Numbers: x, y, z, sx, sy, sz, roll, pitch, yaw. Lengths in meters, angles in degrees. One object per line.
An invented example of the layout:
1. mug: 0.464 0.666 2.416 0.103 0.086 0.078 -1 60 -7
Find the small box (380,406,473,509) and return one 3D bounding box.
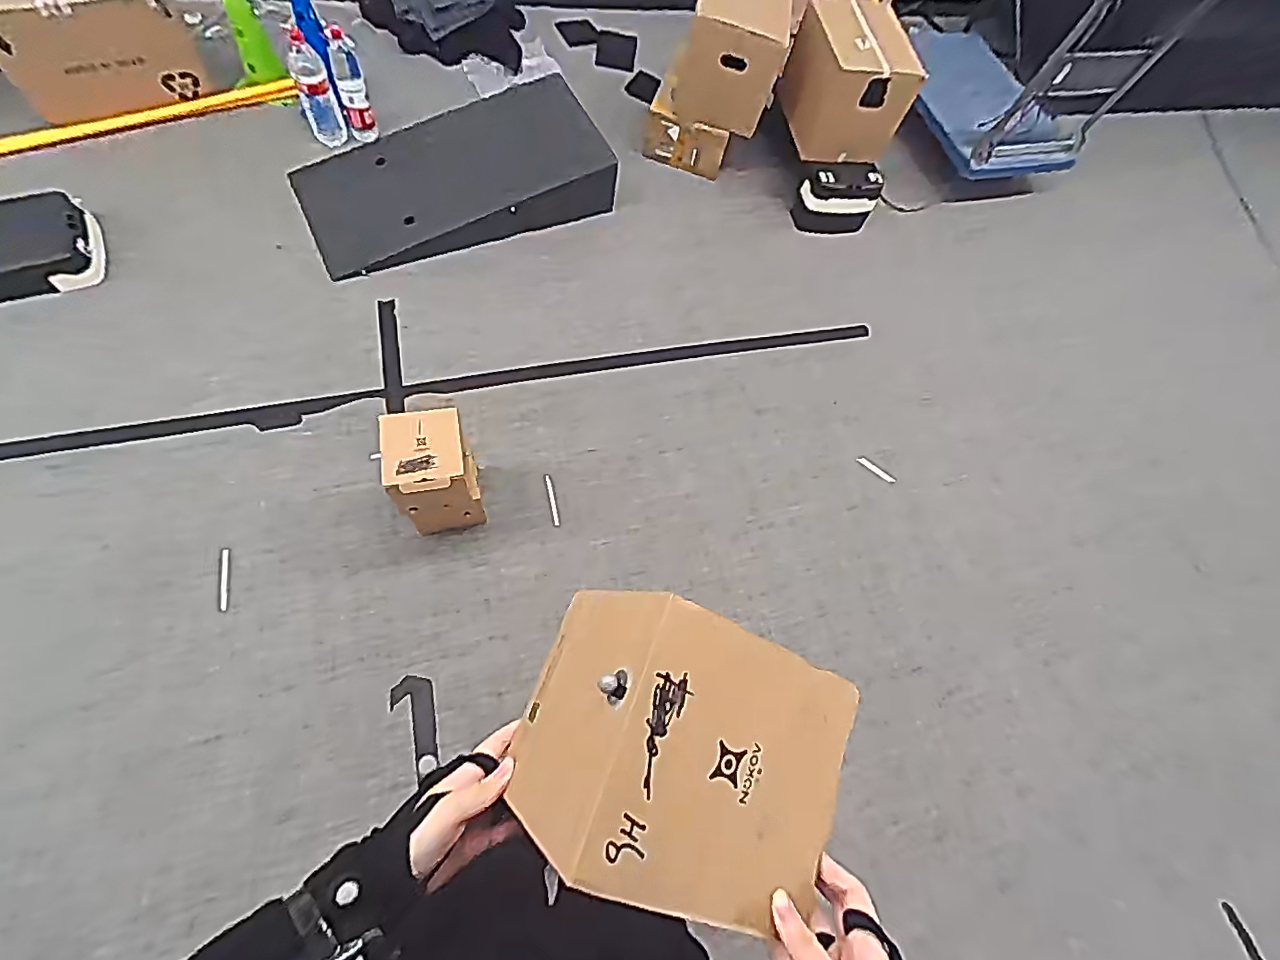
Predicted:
1. small box: -0.479 -0.043 1.226 0.168 0.176 0.179 -8 67 -14

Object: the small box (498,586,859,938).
1. small box: 0.023 0.186 0.403 0.179 0.176 0.168 32 67 -20

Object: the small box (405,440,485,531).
1. small box: -0.496 0.018 1.378 0.179 0.176 0.168 -11 69 -14
